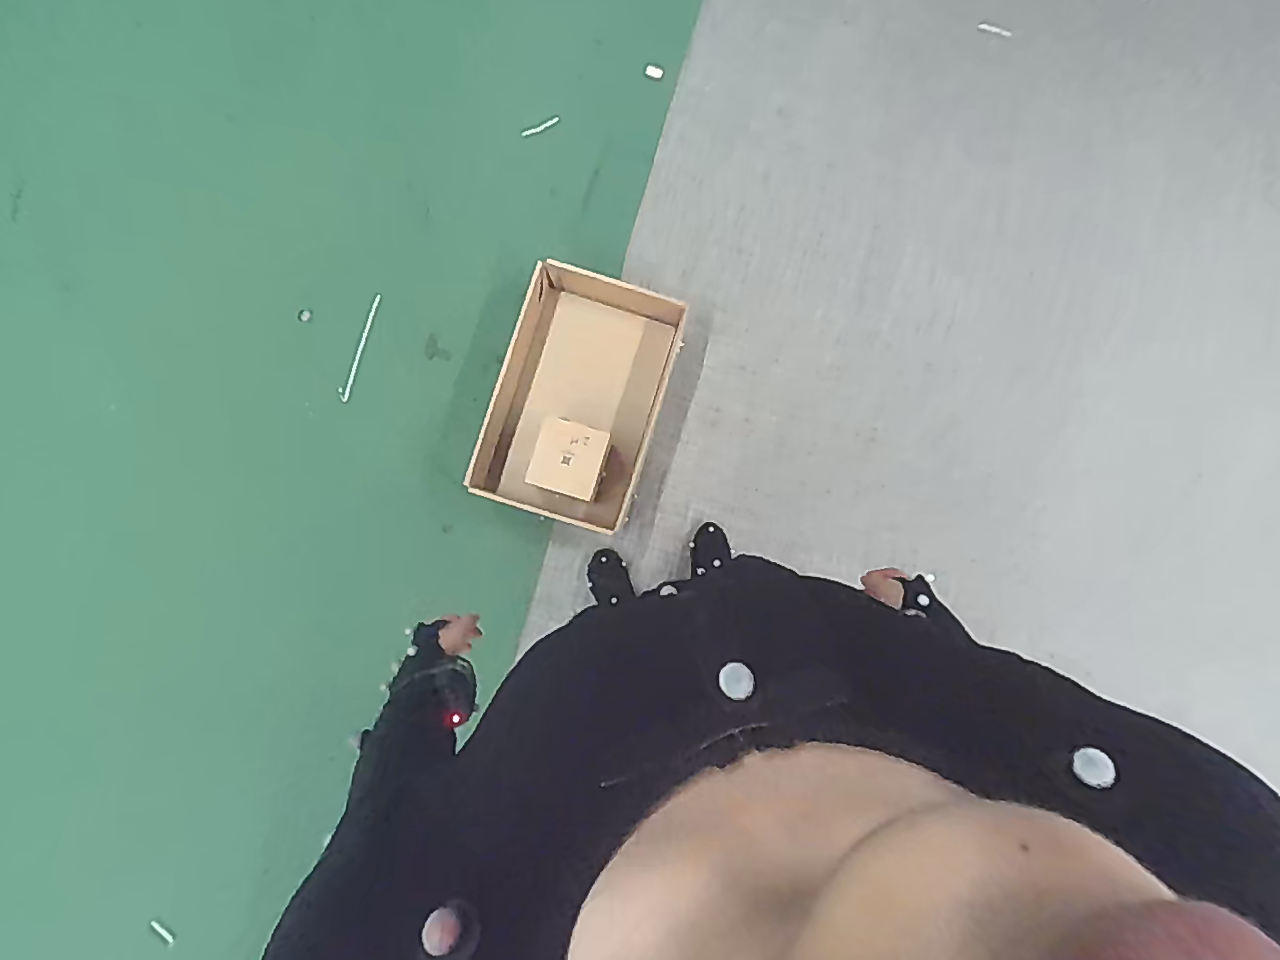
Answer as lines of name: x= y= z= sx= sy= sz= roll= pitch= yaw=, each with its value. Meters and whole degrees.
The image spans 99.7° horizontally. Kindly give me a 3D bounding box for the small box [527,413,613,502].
small box: x=-0.167 y=-0.048 z=1.356 sx=0.168 sy=0.176 sz=0.179 roll=17 pitch=85 yaw=-2
